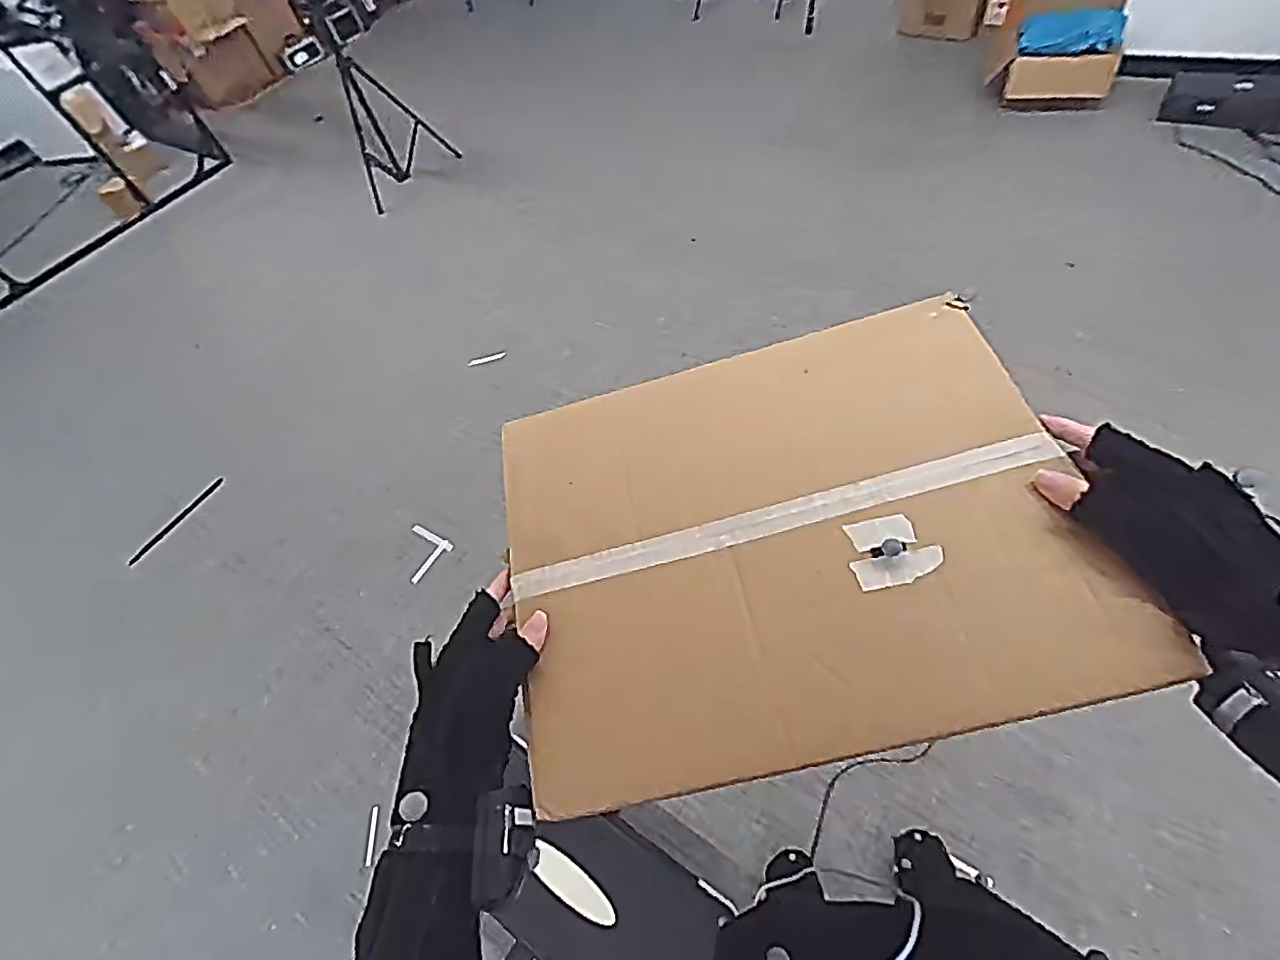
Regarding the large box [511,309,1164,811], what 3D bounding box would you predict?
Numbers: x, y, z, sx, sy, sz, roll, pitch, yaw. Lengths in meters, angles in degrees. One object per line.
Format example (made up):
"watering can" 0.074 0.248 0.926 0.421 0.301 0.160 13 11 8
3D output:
"large box" 0.128 0.101 0.543 0.408 0.320 0.320 -16 62 4
